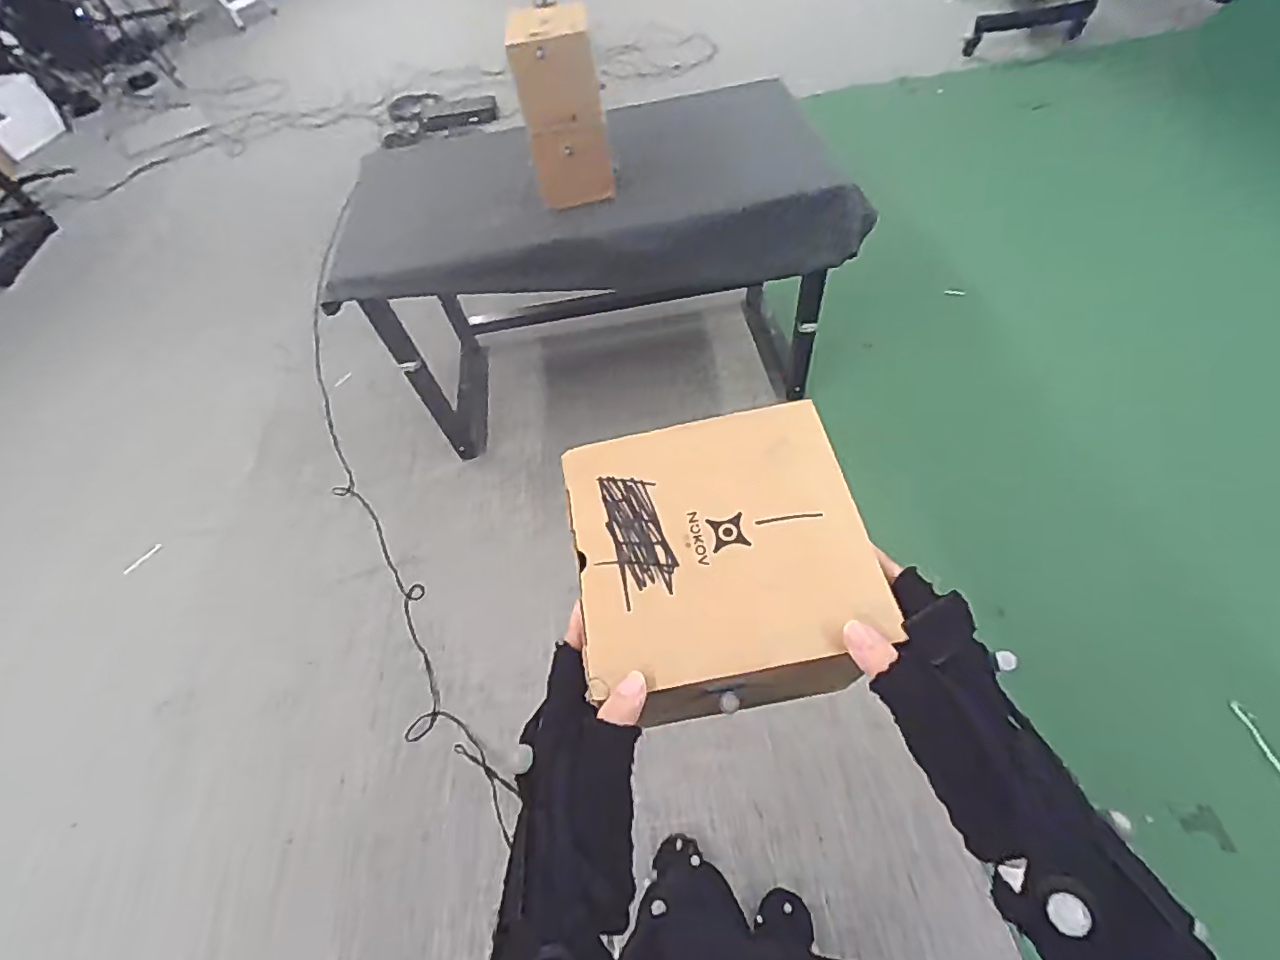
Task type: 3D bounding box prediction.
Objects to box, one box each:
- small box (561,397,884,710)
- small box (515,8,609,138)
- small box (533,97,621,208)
[{"bbox_3d":[0.050,0.066,0.409,0.179,0.176,0.168,-11,60,1],"label":"small box"},{"bbox_3d":[-0.163,-0.862,1.150,0.168,0.176,0.179,-9,57,0],"label":"small box"},{"bbox_3d":[-0.147,-0.770,1.282,0.179,0.176,0.168,-8,56,1],"label":"small box"}]
